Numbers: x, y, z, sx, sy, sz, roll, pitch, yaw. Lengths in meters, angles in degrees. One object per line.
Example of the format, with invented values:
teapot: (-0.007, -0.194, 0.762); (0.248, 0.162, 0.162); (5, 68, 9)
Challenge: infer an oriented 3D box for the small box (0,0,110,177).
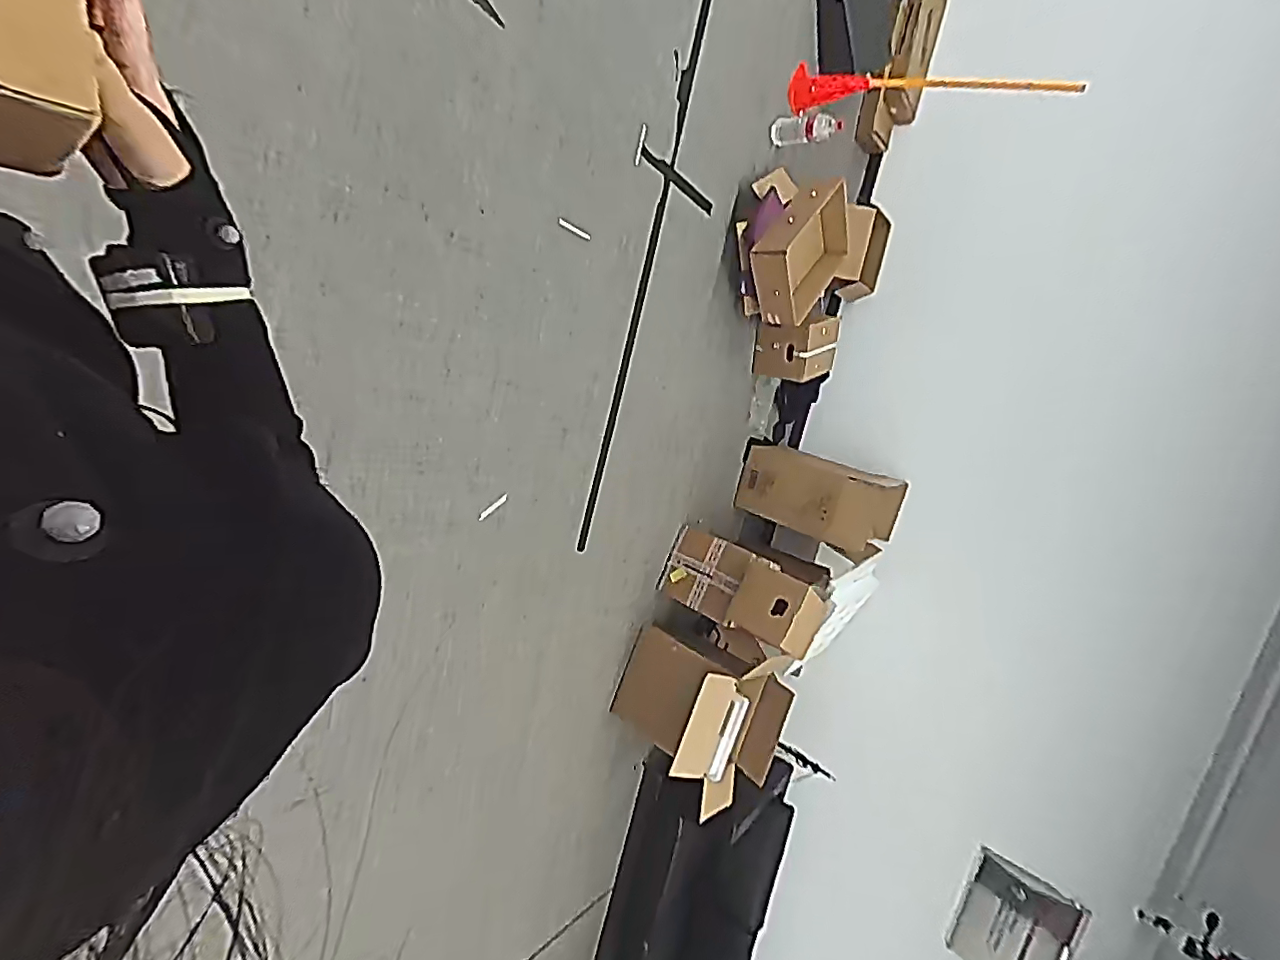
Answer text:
small box: (-0.361, -0.256, 0.227); (0.168, 0.176, 0.179); (-11, 109, -51)
